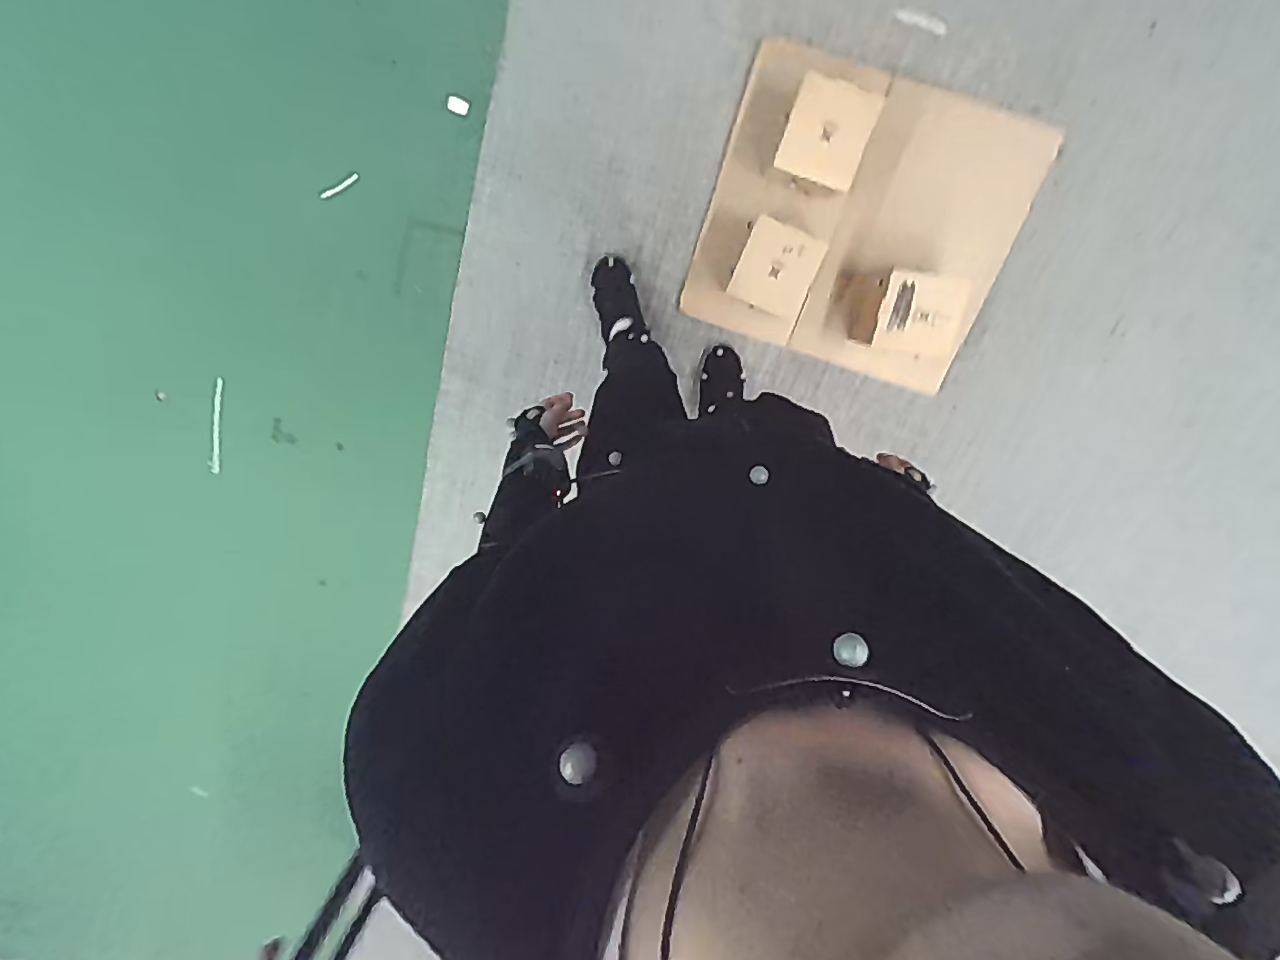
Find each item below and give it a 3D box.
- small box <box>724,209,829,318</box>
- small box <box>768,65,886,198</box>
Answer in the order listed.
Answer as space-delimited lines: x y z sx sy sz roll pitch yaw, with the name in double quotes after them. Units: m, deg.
0.303 -0.488 1.237 0.168 0.176 0.179 23 110 -3 "small box"
0.384 -0.725 1.149 0.168 0.176 0.179 20 109 -1 "small box"
